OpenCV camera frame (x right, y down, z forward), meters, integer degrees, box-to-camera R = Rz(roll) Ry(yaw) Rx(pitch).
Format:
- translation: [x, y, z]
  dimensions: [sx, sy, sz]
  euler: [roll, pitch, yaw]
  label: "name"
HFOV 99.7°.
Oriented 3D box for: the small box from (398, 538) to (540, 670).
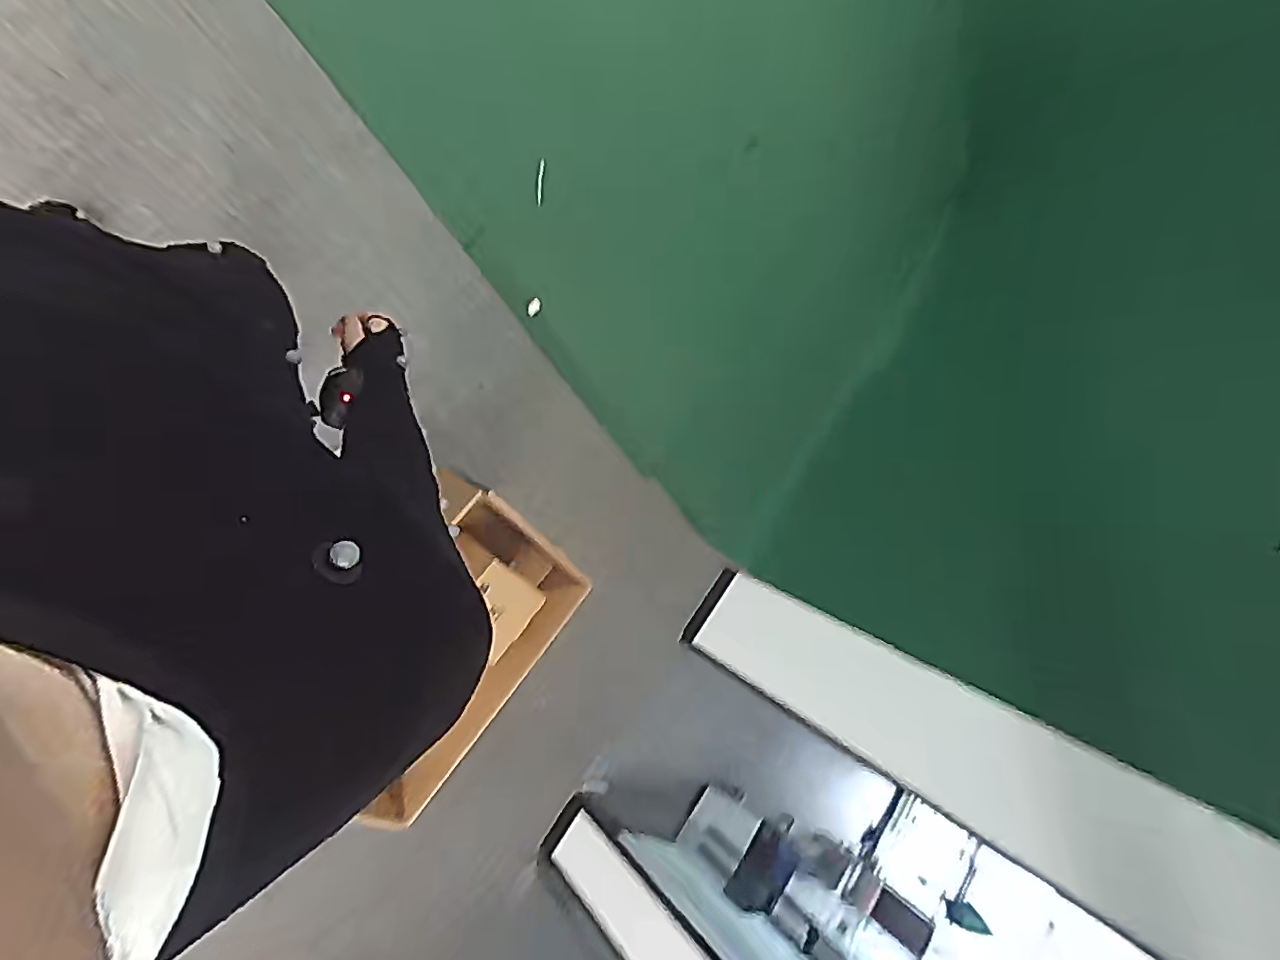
- translation: [-0.342, 0.243, 1.085]
  dimensions: [0.168, 0.176, 0.179]
  euler: [-52, 136, -15]
  label: "small box"
